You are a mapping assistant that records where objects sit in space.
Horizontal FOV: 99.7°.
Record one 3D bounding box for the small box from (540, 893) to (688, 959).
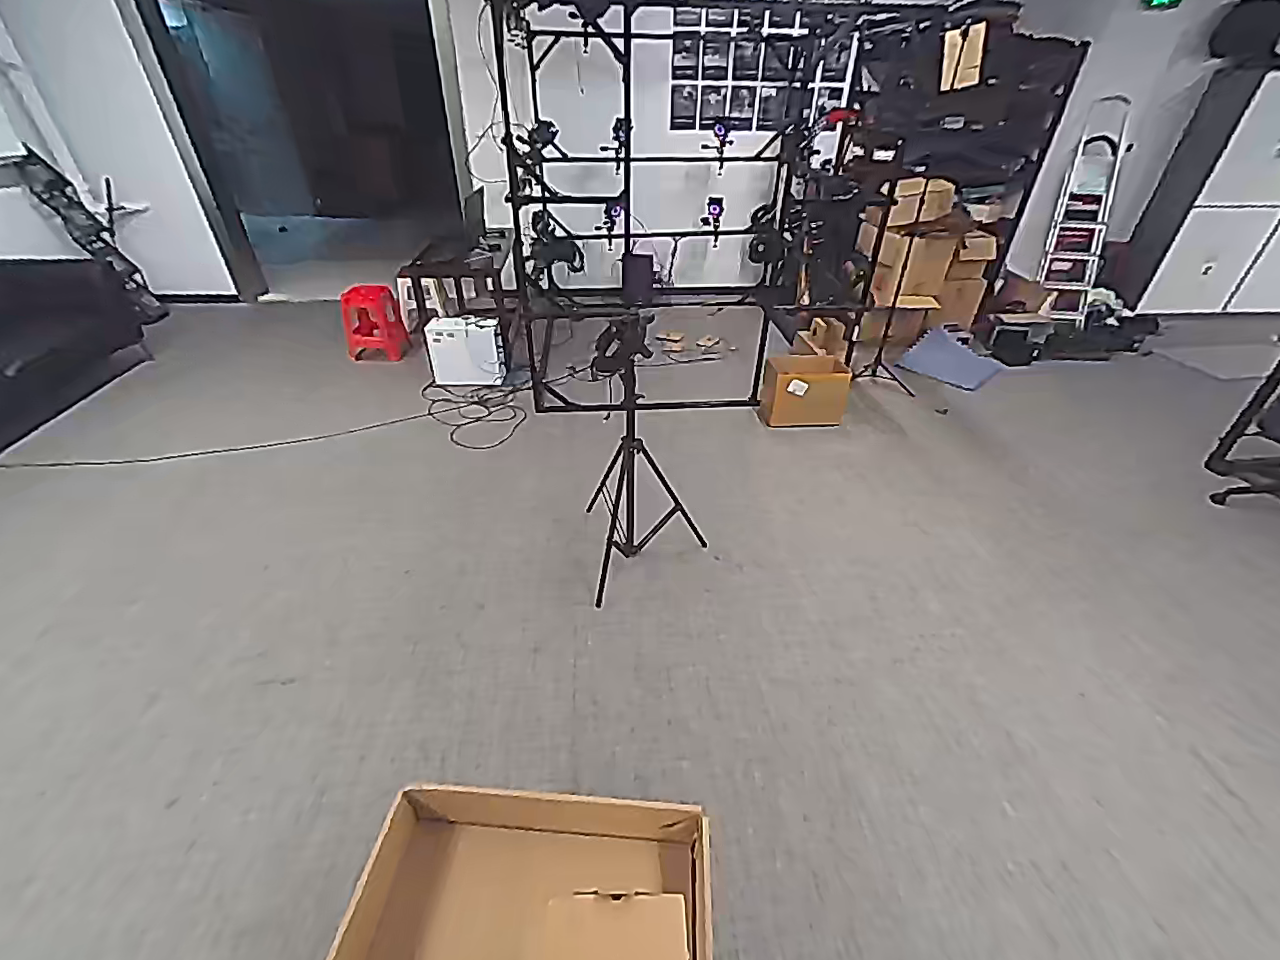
[{"bbox_3d":[-0.036,0.604,0.613,0.168,0.176,0.179,4,37,-3],"label":"small box"}]
